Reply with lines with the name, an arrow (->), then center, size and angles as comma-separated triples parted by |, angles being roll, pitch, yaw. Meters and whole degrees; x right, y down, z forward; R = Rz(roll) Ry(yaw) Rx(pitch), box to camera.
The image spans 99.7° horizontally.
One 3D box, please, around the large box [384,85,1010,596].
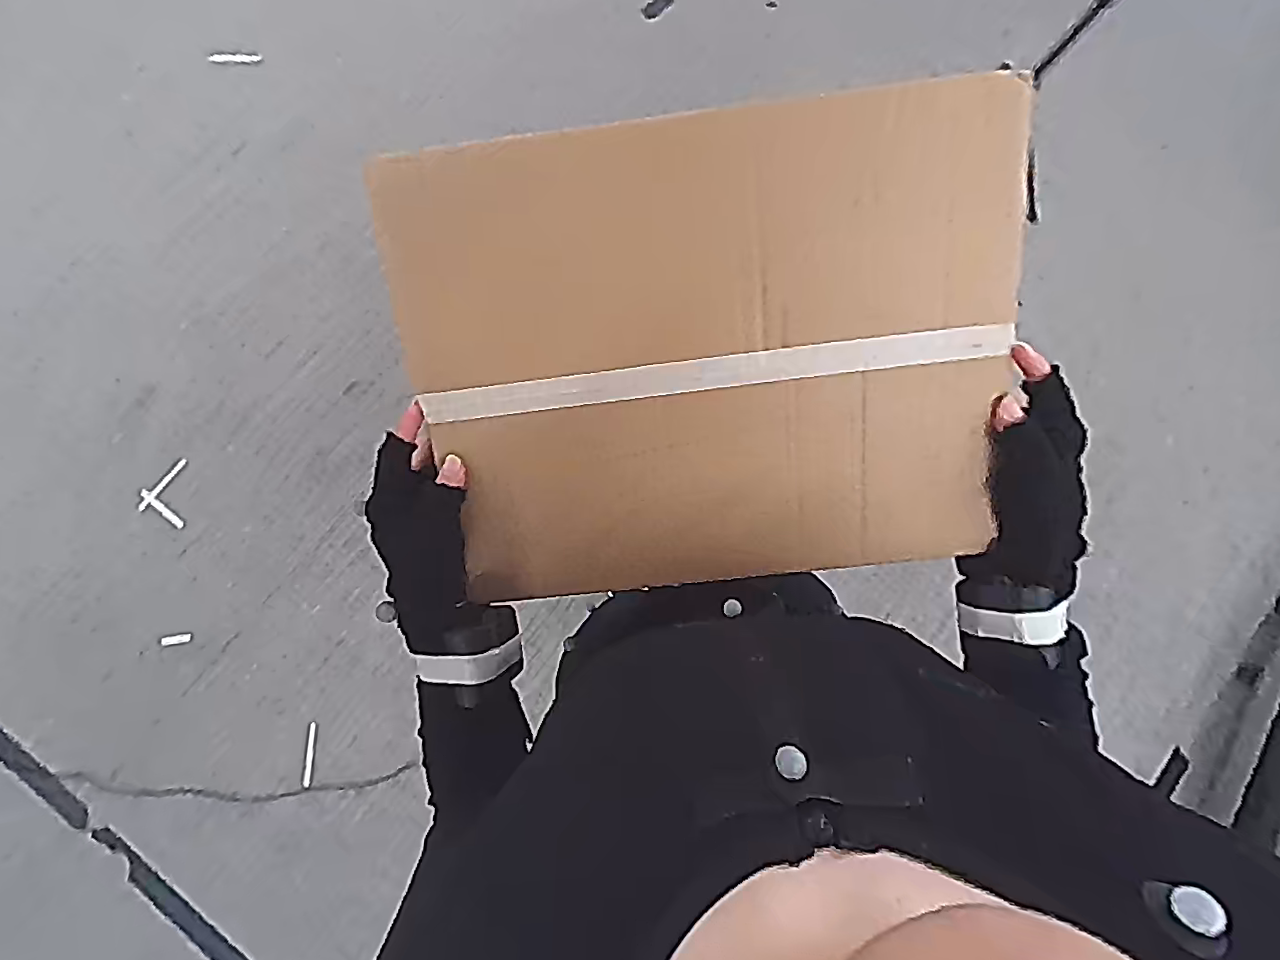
large box -> 0.047, -0.117, 0.522 | 0.408, 0.320, 0.320 | -6, 108, 2
